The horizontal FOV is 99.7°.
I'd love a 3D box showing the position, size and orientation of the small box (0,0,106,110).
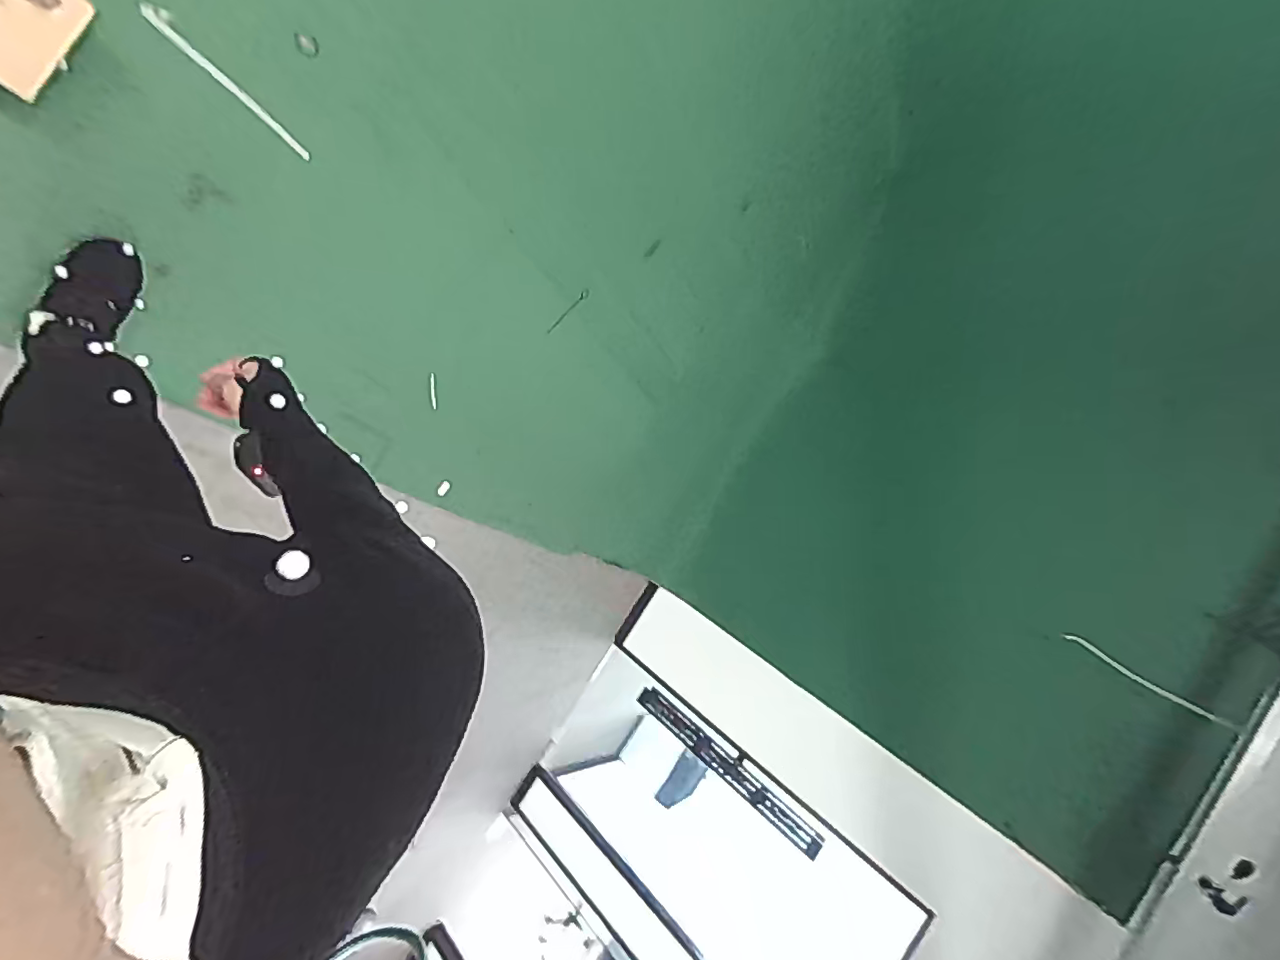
[{"bbox_3d":[-0.956,-0.694,0.800,0.179,0.176,0.168,-57,147,-2],"label":"small box"}]
